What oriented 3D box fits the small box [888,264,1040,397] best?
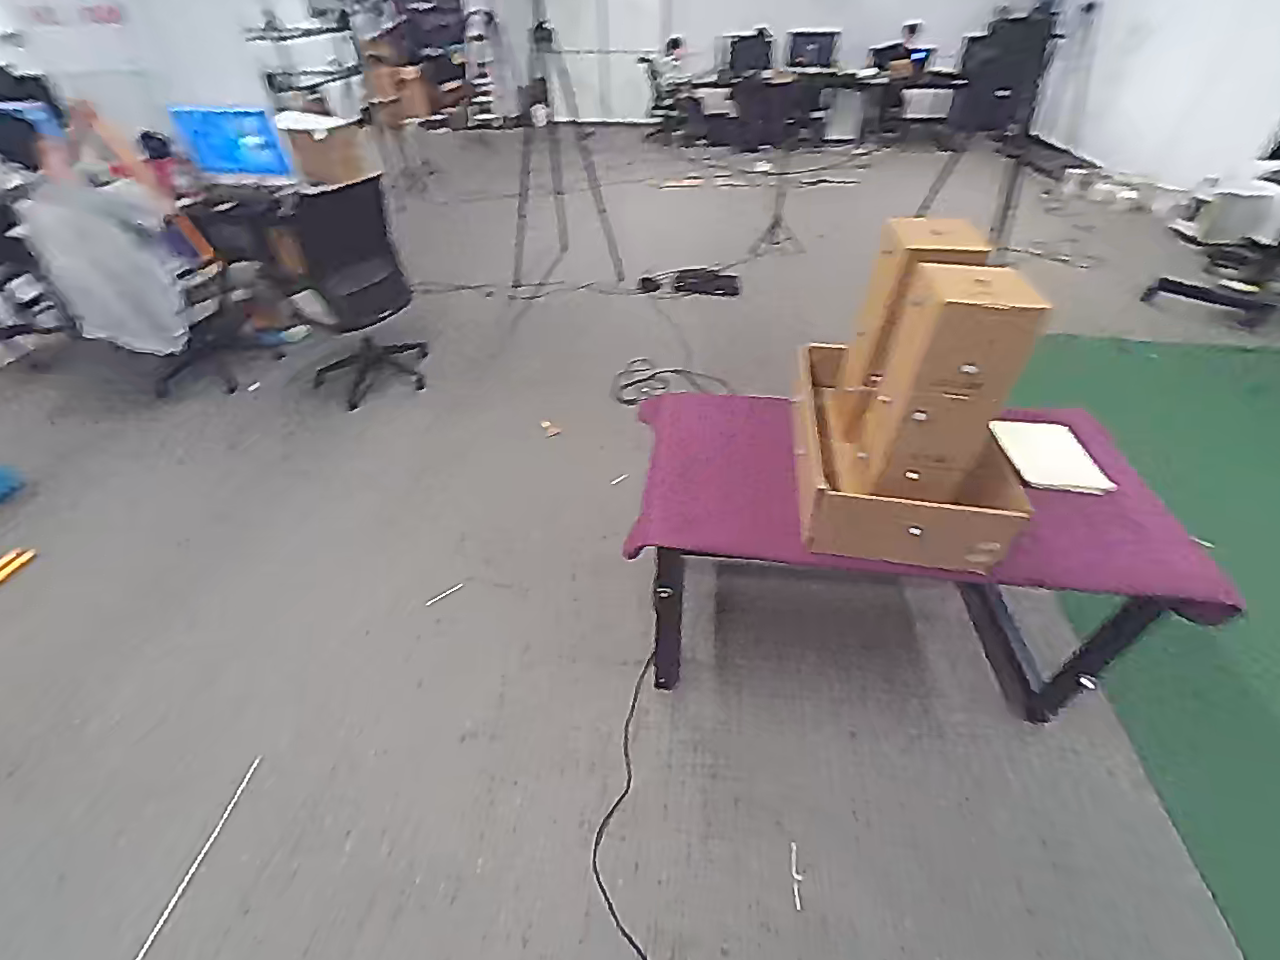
[{"bbox_3d":[0.567,-0.272,0.979,0.168,0.176,0.179,6,42,8],"label":"small box"}]

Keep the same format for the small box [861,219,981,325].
[{"bbox_3d":[0.600,-0.452,1.183,0.168,0.176,0.179,4,44,5],"label":"small box"}]

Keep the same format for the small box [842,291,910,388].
[{"bbox_3d":[0.600,-0.334,1.295,0.168,0.176,0.179,4,43,4],"label":"small box"}]

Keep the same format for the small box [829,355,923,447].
[{"bbox_3d":[0.600,-0.209,1.402,0.168,0.176,0.179,4,44,5],"label":"small box"}]
